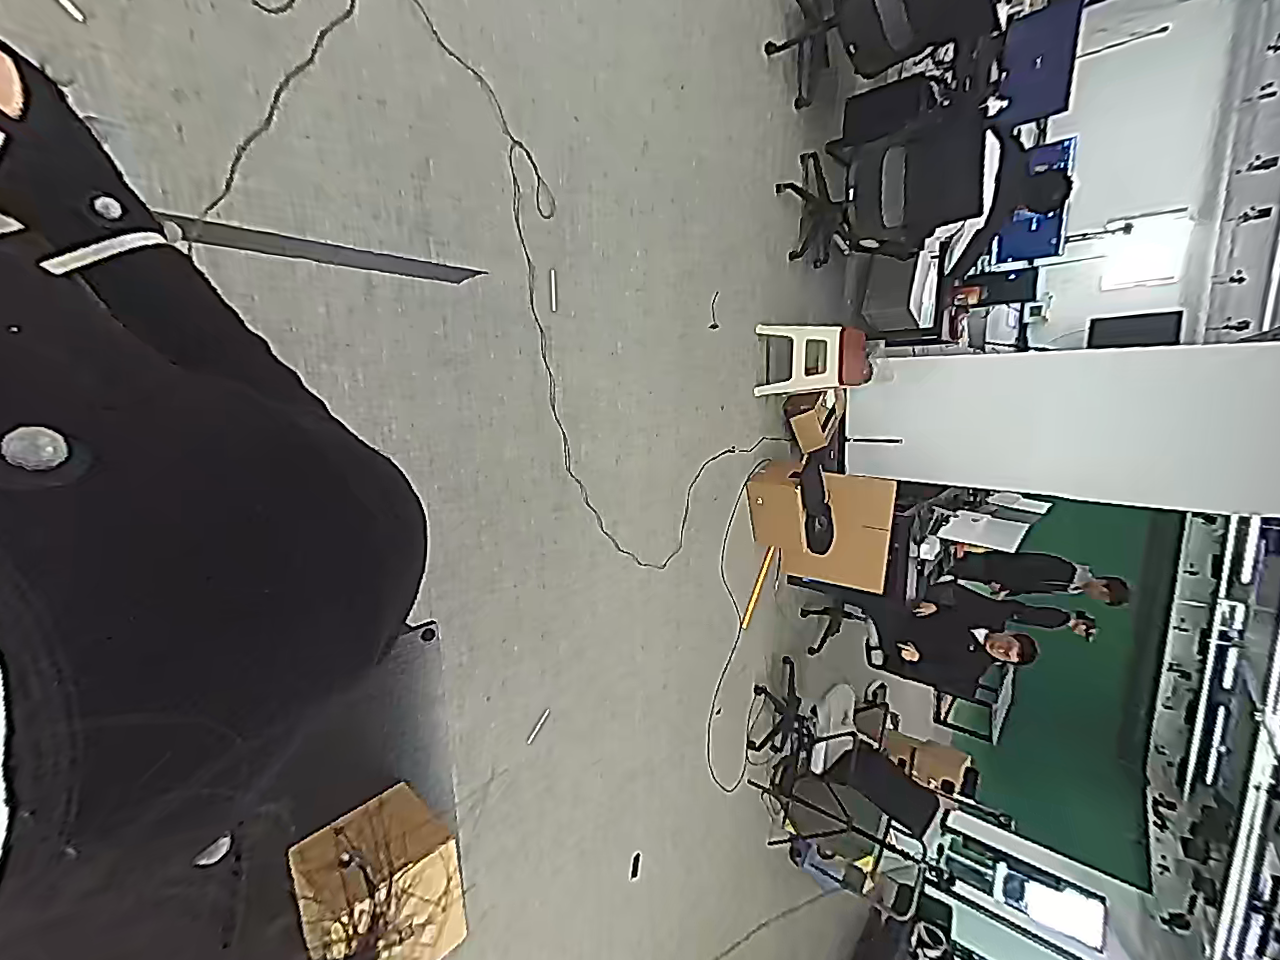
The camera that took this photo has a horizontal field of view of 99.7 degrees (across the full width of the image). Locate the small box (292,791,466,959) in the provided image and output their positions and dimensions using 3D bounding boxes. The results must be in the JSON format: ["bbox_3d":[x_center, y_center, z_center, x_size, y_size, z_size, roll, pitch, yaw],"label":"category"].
[{"bbox_3d":[-0.376,0.587,0.778,0.168,0.176,0.179,-15,107,-46],"label":"small box"}]
